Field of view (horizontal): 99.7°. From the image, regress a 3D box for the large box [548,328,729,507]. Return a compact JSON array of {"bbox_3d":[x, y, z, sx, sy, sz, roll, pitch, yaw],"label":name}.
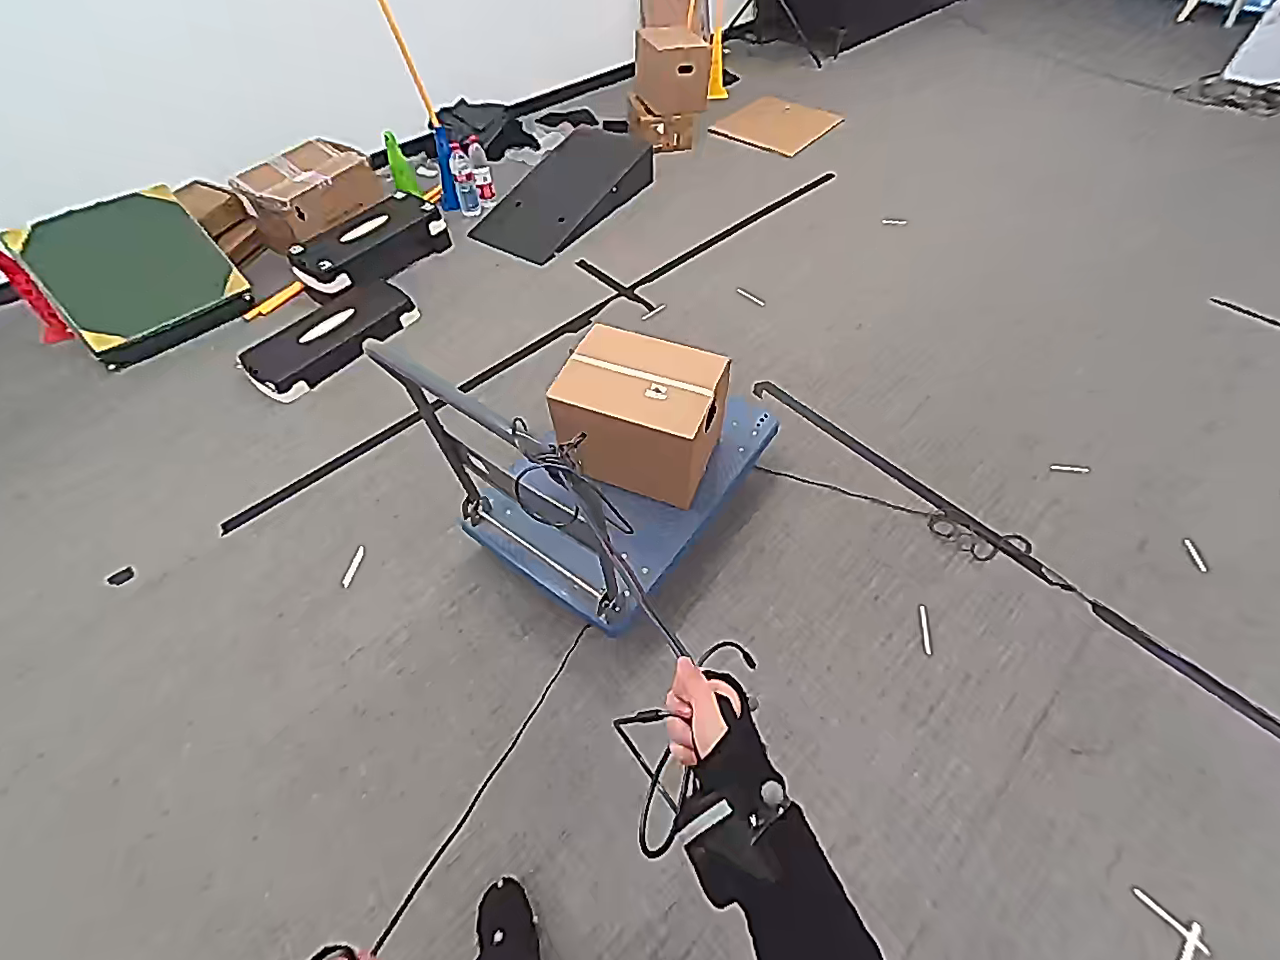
[{"bbox_3d":[0.001,-0.175,1.533,0.408,0.320,0.320,18,57,13],"label":"large box"}]
